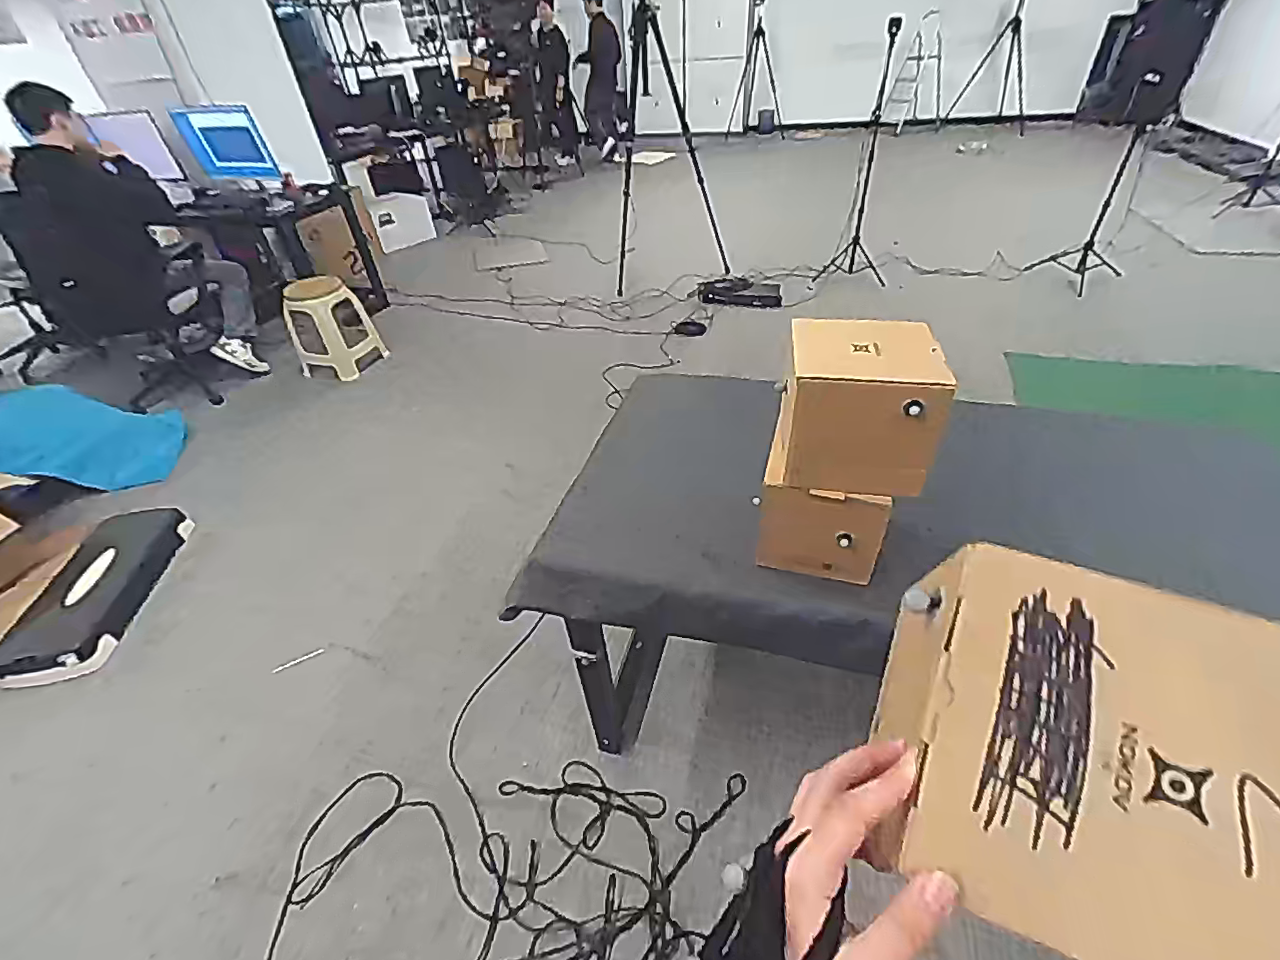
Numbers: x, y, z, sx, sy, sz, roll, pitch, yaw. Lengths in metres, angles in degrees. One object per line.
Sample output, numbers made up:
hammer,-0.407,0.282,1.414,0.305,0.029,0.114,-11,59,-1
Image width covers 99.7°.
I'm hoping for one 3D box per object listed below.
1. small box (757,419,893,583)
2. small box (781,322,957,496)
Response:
small box,0.275,0.030,0.819,0.168,0.176,0.179,10,40,15
small box,0.282,-0.095,0.714,0.179,0.176,0.168,5,40,10
